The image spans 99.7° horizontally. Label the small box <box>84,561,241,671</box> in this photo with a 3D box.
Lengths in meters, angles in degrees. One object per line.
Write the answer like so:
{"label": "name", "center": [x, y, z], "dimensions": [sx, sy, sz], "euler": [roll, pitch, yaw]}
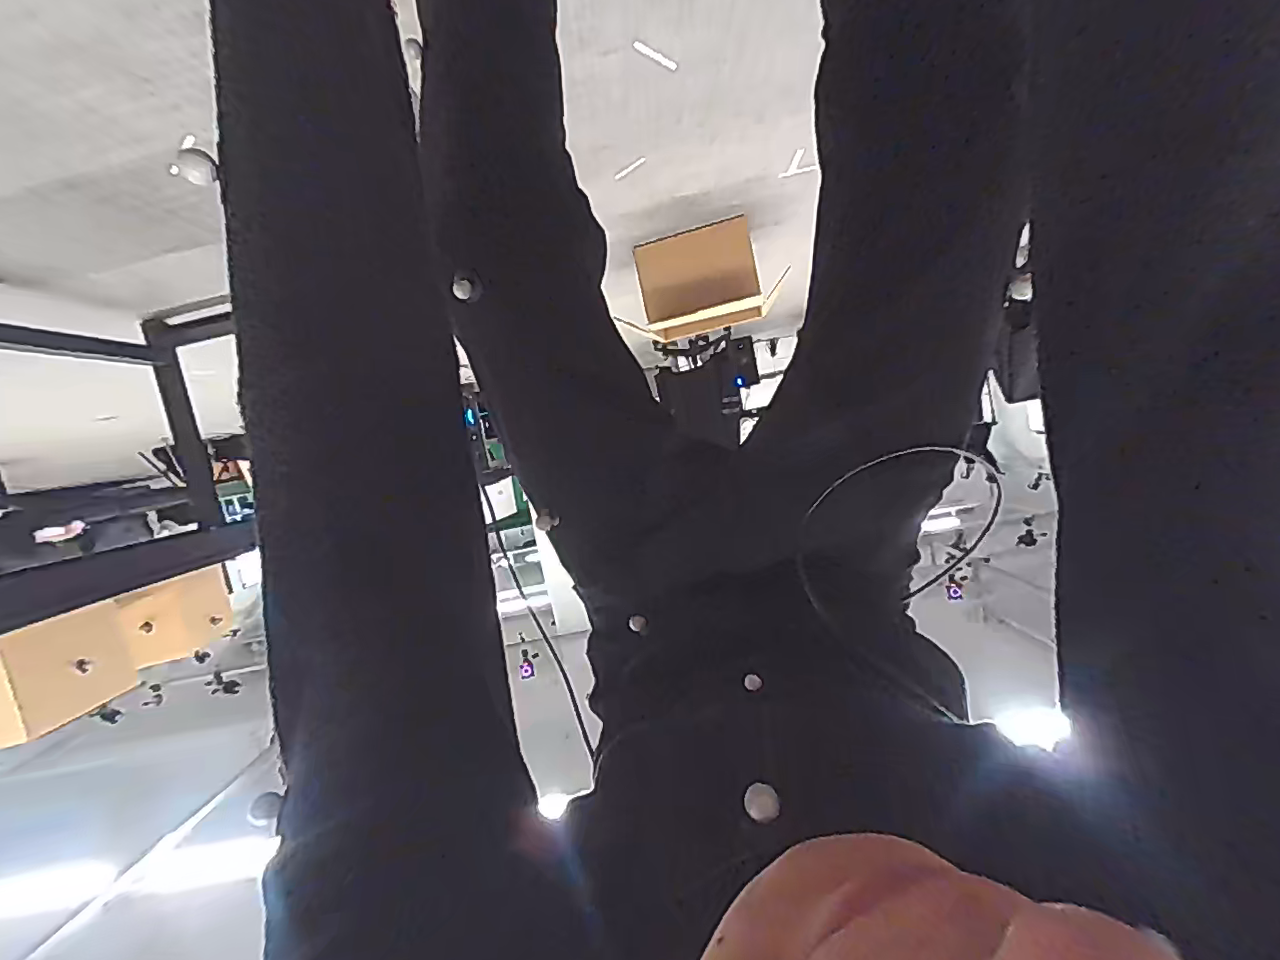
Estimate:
{"label": "small box", "center": [-0.987, 0.282, 1.128], "dimensions": [0.168, 0.176, 0.179], "euler": [-13, -174, -10]}

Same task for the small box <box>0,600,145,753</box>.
{"label": "small box", "center": [-0.957, 0.307, 0.850], "dimensions": [0.168, 0.176, 0.179], "euler": [-12, -173, 1]}
